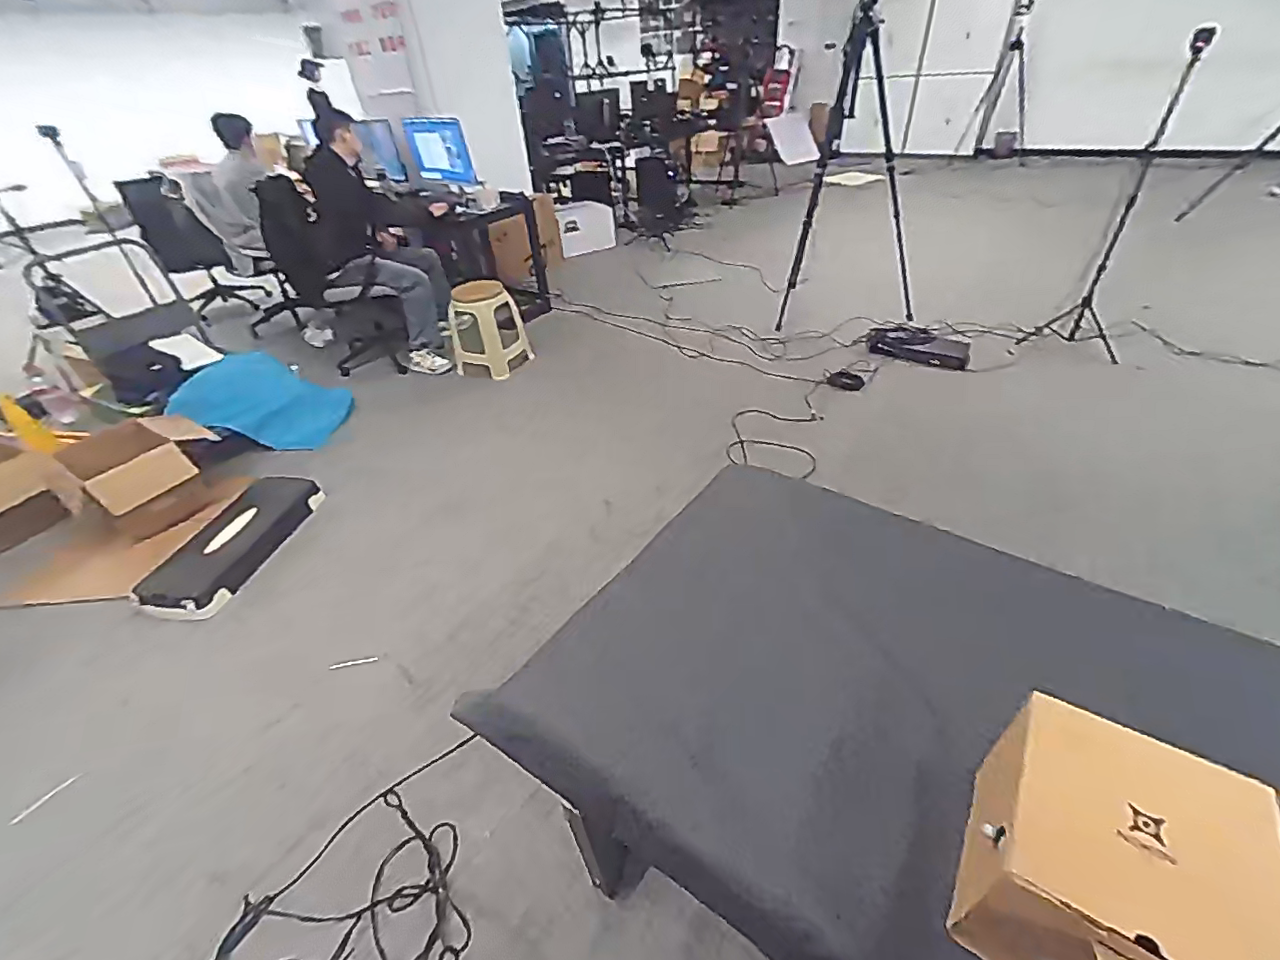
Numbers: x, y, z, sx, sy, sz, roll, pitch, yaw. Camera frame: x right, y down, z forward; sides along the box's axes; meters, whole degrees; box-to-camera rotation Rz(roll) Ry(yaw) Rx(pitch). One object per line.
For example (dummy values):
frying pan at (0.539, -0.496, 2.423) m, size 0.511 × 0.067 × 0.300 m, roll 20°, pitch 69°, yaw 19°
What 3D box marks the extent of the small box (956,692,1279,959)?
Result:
small box at (0.389, 0.327, 0.454) m, size 0.168 × 0.176 × 0.179 m, roll 19°, pitch 45°, yaw 27°
